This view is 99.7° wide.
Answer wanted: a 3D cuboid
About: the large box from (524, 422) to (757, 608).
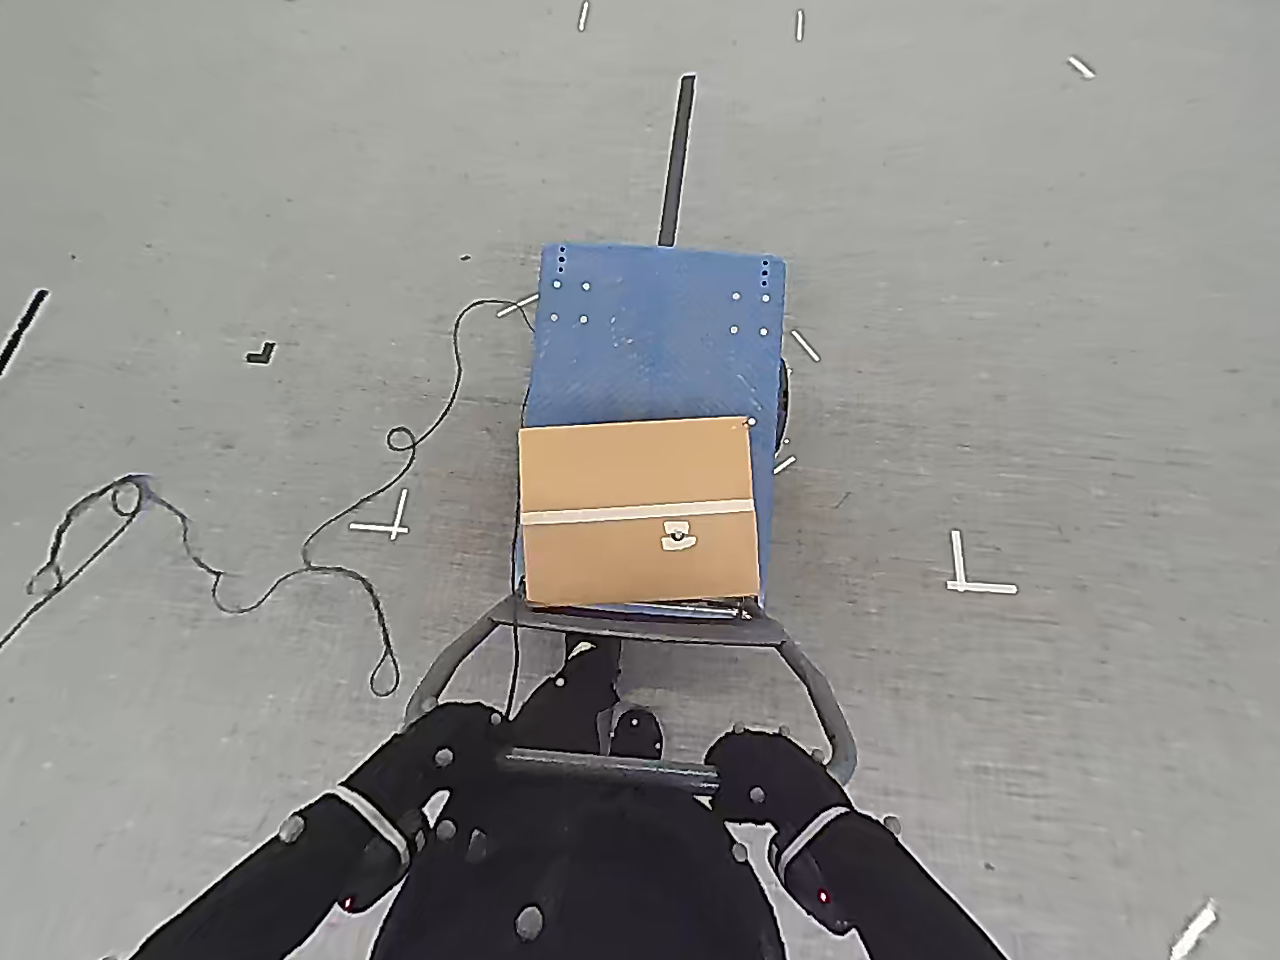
[{"bbox_3d":[-0.003,0.071,1.108,0.408,0.320,0.320,-3,87,-1],"label":"large box"}]
